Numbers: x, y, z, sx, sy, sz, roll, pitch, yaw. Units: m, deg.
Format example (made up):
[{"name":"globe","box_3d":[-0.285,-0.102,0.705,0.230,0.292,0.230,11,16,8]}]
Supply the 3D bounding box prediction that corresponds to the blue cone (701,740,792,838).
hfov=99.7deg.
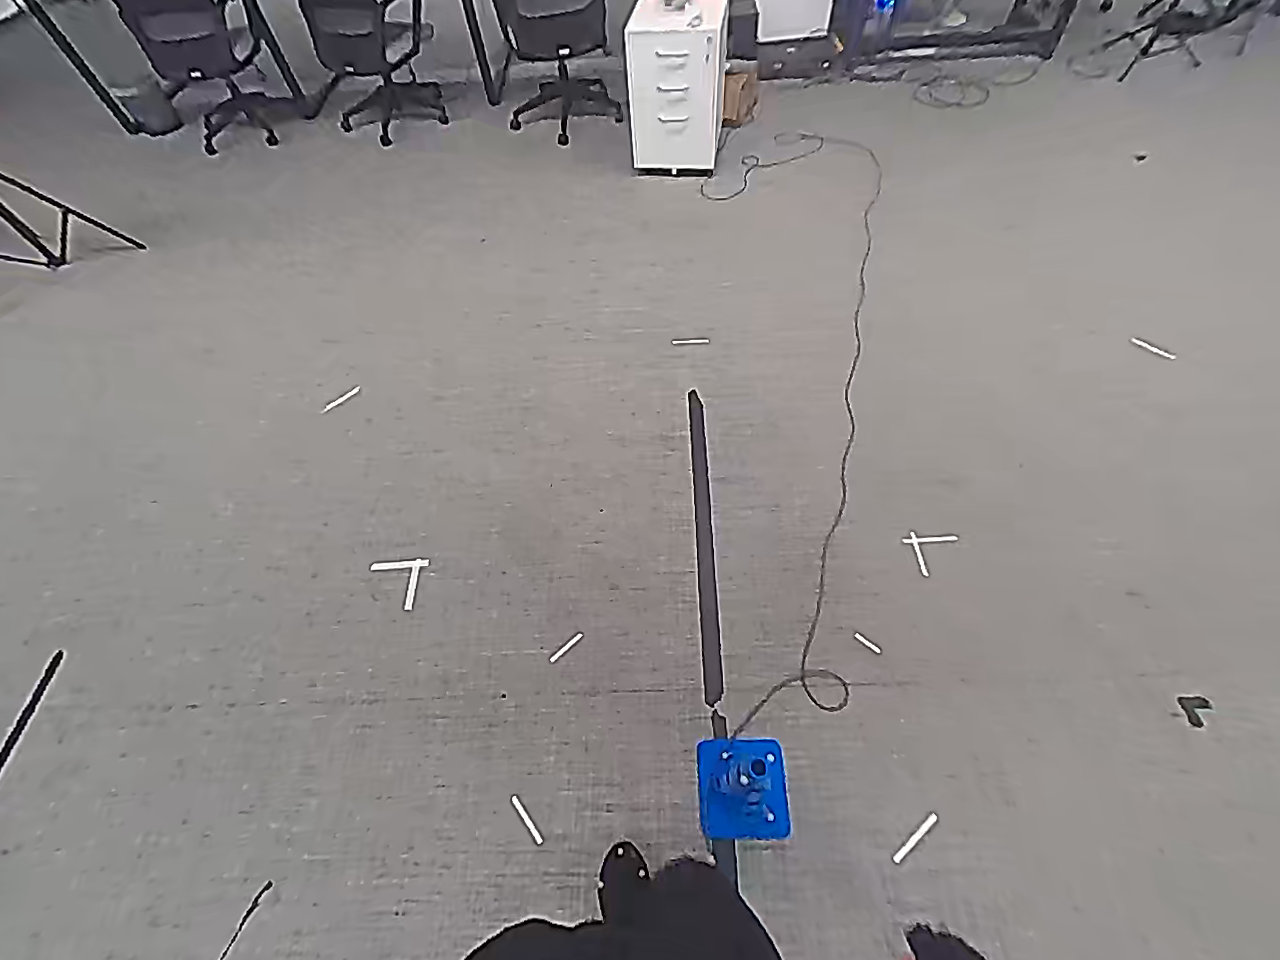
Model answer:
[{"name":"blue cone","box_3d":[0.225,0.601,1.085,0.193,0.380,0.192,-3,56,2]}]
